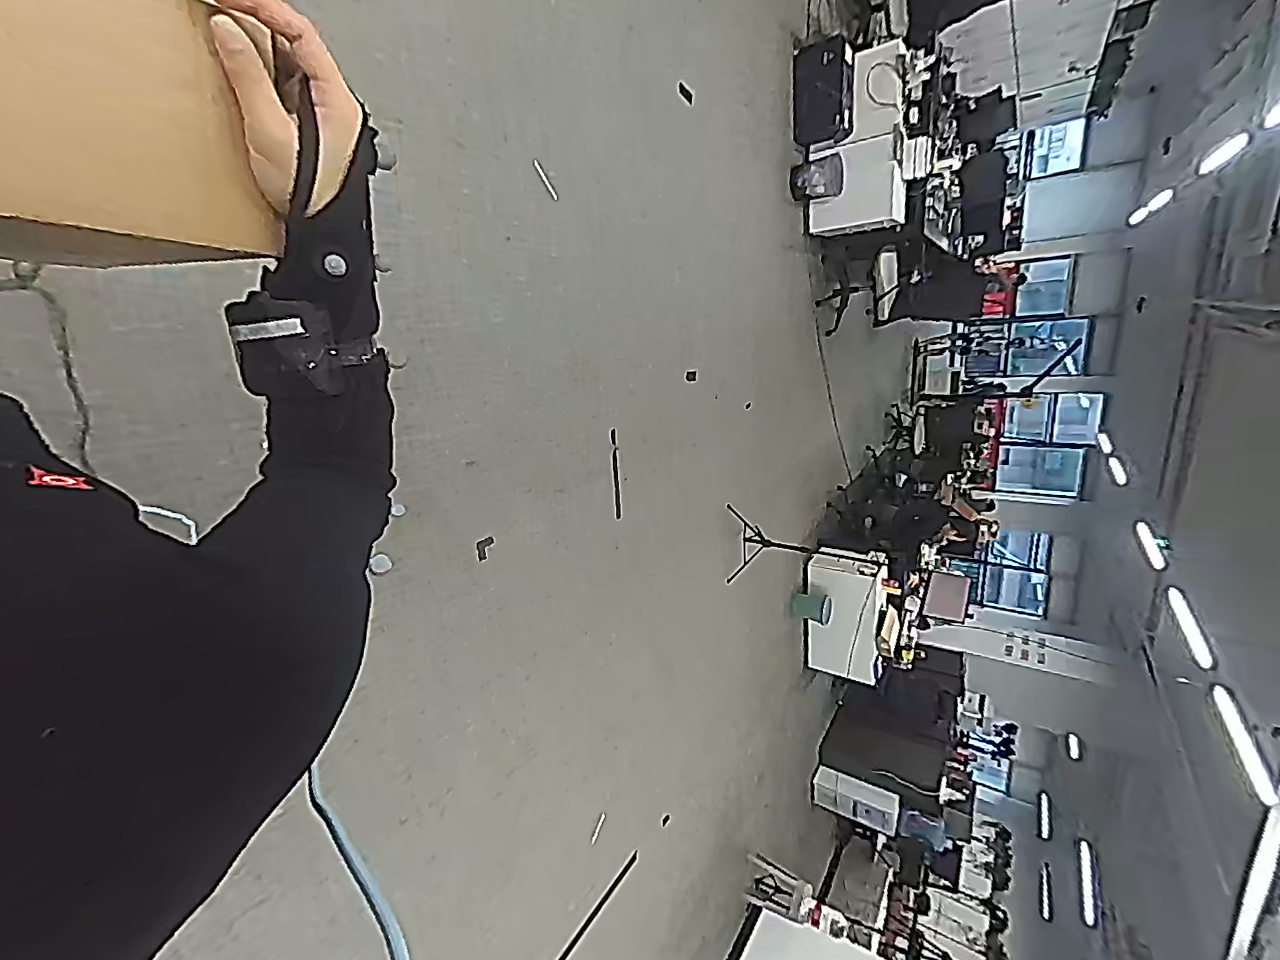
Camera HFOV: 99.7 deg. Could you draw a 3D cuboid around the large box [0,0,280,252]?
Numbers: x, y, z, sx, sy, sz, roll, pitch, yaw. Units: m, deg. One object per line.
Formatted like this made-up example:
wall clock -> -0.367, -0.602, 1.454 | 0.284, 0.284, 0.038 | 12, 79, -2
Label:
large box -> -0.447, -0.284, 0.206 | 0.408, 0.320, 0.320 | -21, 119, -58
